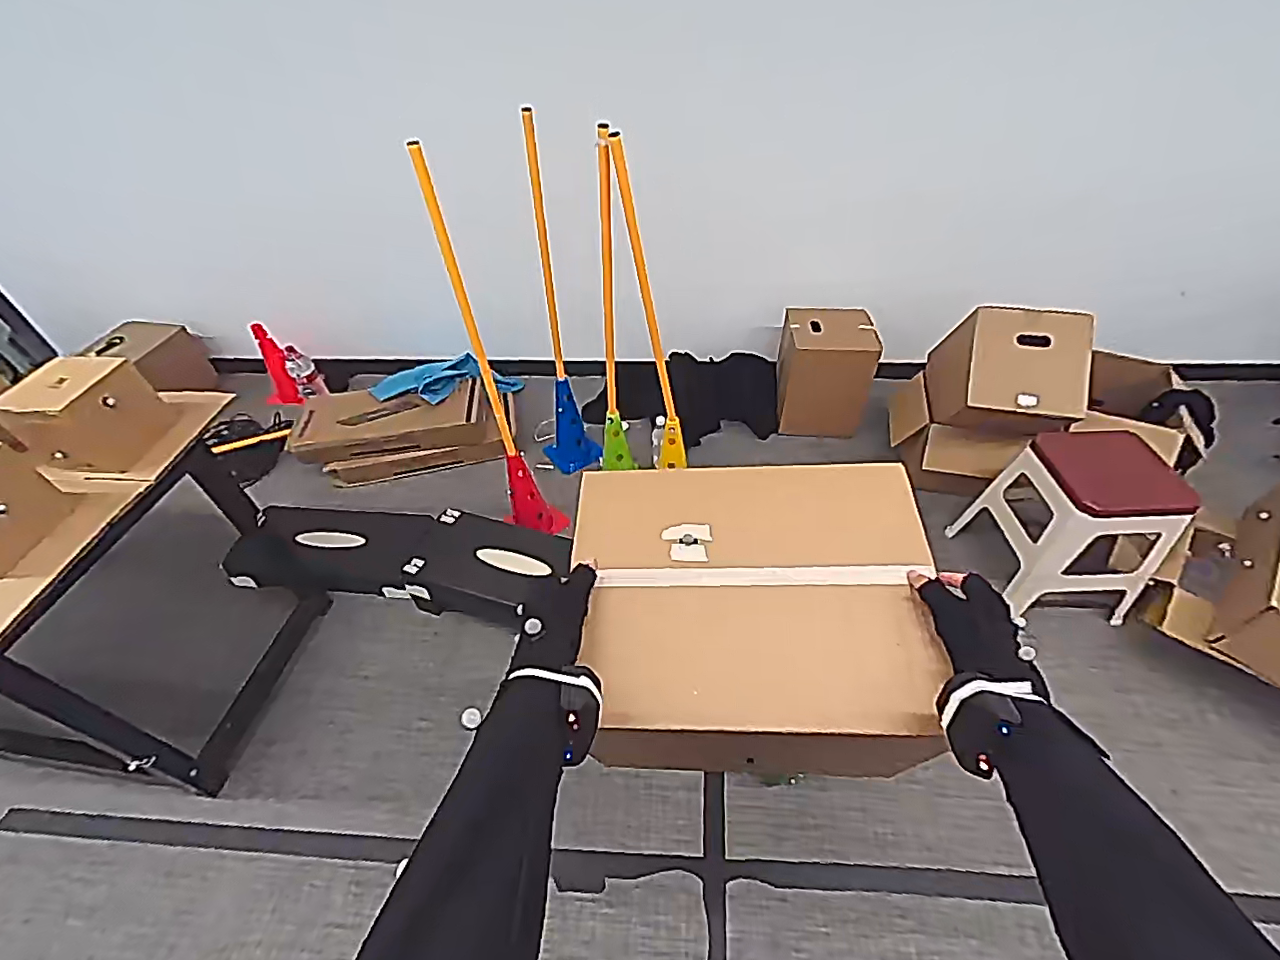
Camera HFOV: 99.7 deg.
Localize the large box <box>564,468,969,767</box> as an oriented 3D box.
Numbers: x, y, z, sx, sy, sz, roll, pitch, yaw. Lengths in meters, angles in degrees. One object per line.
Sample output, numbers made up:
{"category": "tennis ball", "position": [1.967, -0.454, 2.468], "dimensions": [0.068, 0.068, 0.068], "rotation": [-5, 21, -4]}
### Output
{"category": "large box", "position": [0.140, 0.202, 0.737], "dimensions": [0.408, 0.320, 0.320], "rotation": [-2, 55, 7]}
